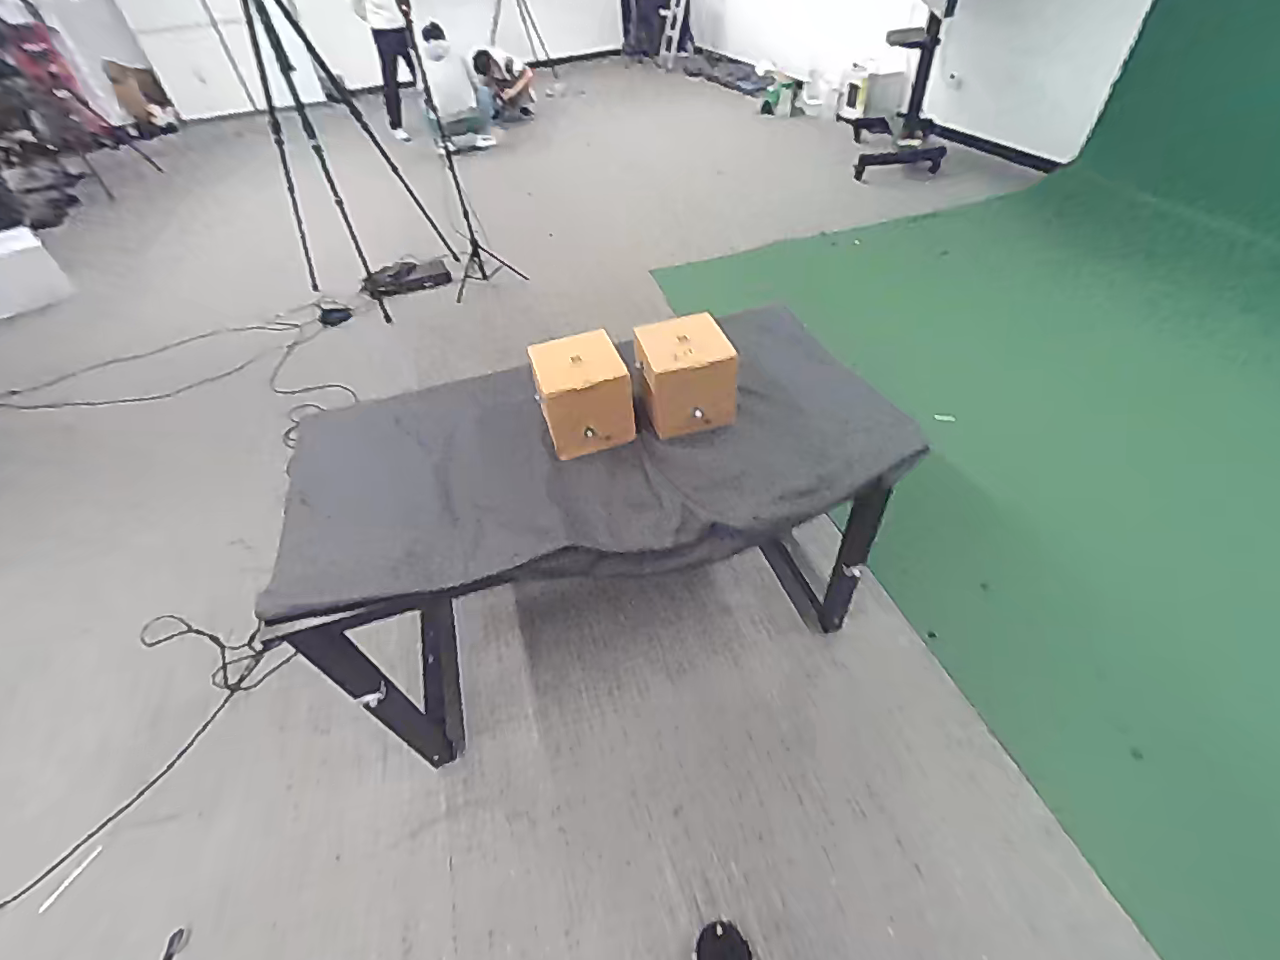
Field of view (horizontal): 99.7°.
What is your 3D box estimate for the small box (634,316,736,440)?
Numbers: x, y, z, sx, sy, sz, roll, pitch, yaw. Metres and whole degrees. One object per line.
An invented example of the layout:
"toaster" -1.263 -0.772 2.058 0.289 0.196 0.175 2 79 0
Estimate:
"small box" 0.089 -0.211 1.118 0.168 0.176 0.179 -14 47 -6
